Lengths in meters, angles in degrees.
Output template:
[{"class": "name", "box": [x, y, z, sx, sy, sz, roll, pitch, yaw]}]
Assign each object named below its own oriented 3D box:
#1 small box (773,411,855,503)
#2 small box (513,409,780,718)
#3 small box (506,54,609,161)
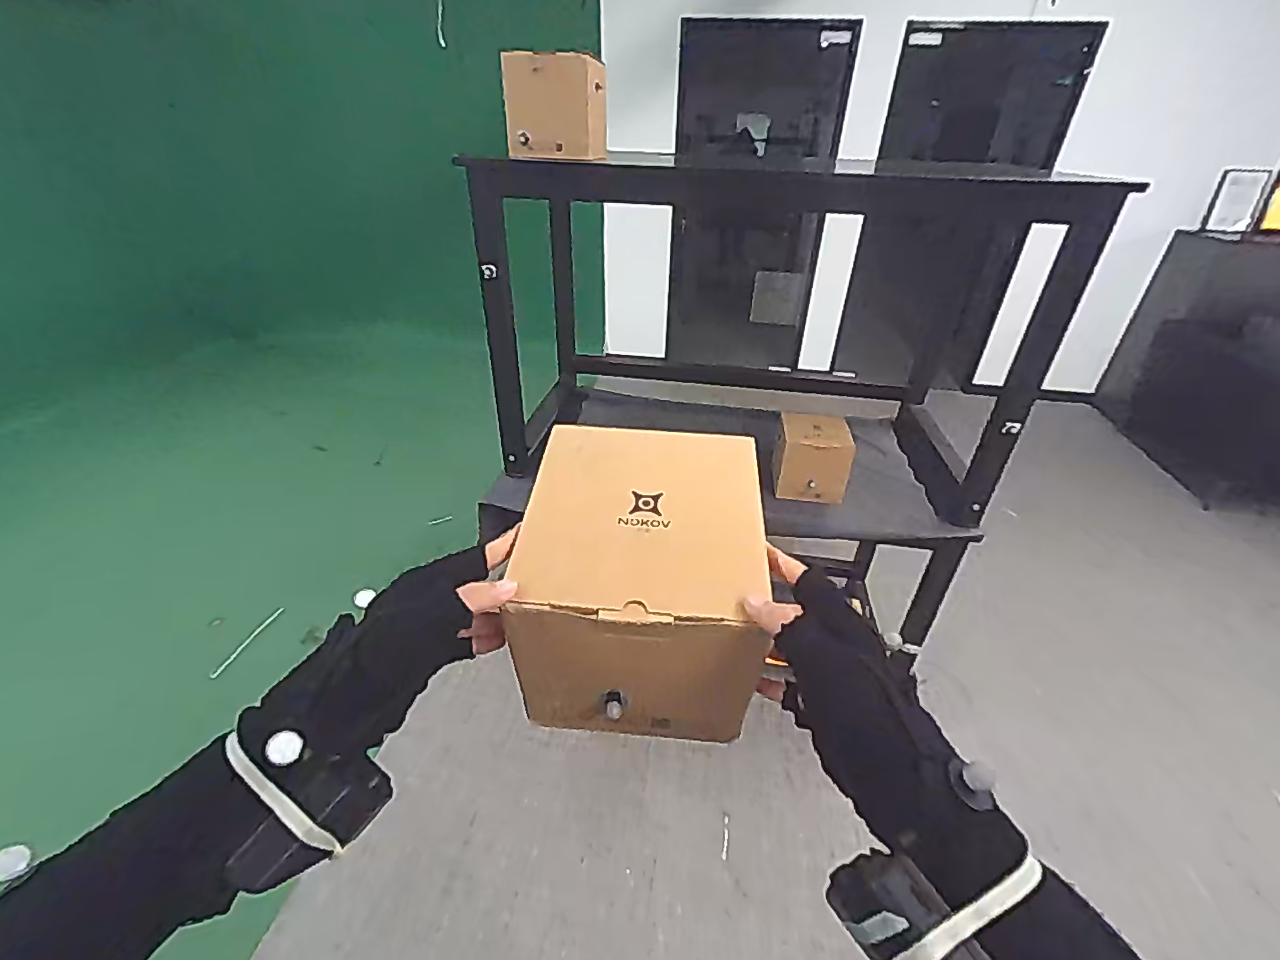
[{"class": "small box", "box": [0.446, -0.062, 1.412, 0.168, 0.176, 0.179, 5, 32, 7]}, {"class": "small box", "box": [0.007, 0.065, 0.439, 0.168, 0.176, 0.179, 4, 43, 2]}, {"class": "small box", "box": [-0.157, -0.749, 1.099, 0.168, 0.176, 0.179, 6, 32, 6]}]
